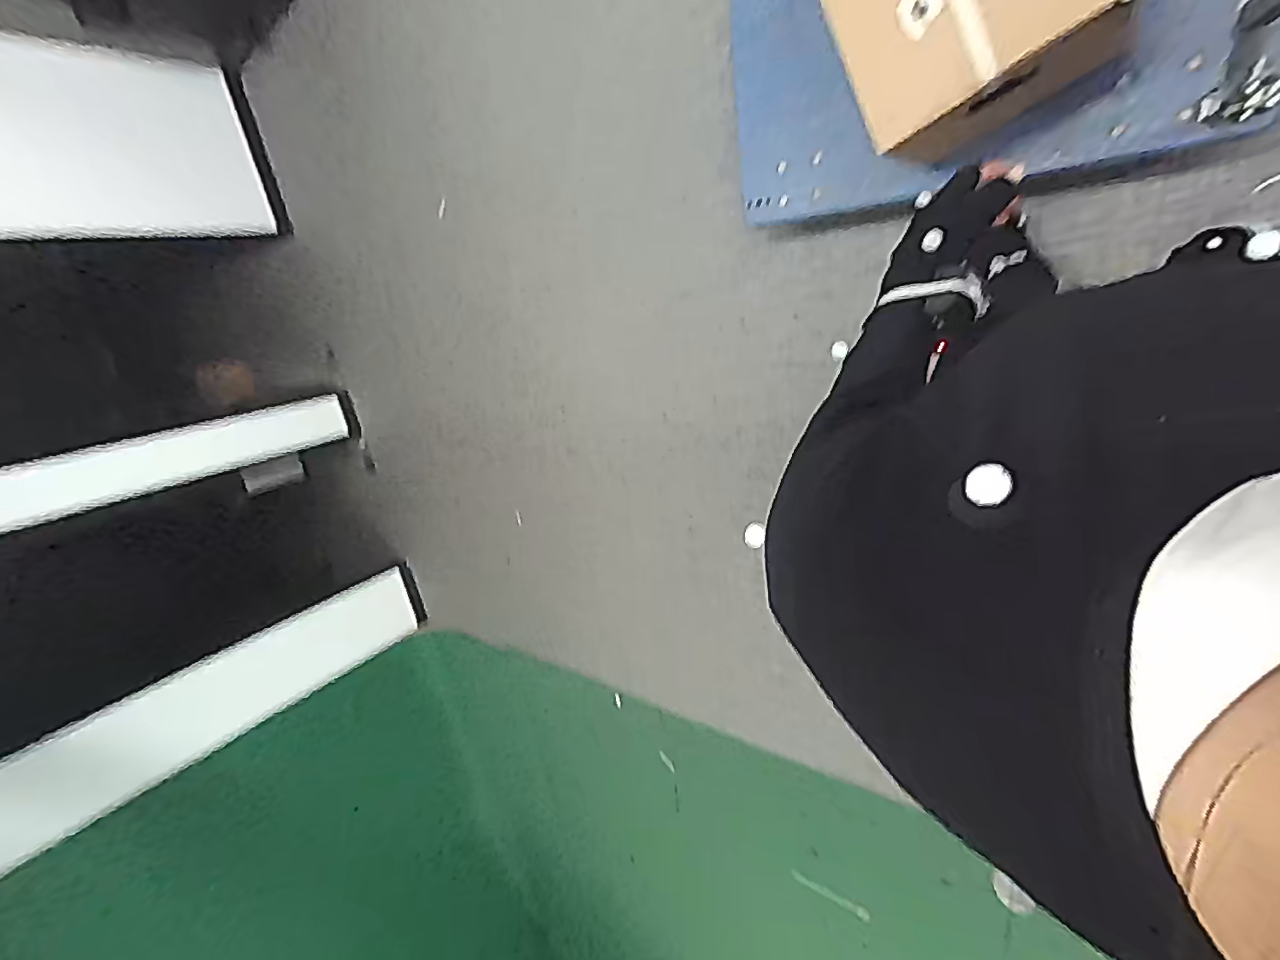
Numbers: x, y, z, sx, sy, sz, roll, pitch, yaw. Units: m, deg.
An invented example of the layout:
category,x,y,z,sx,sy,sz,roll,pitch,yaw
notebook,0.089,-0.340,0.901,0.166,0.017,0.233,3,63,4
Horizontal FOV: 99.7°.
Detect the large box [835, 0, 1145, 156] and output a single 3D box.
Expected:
category,x,y,z,sx,sy,sz,roll,pitch,yaw
large box,0.499,-0.785,0.816,0.320,0.320,0.408,-18,99,44
